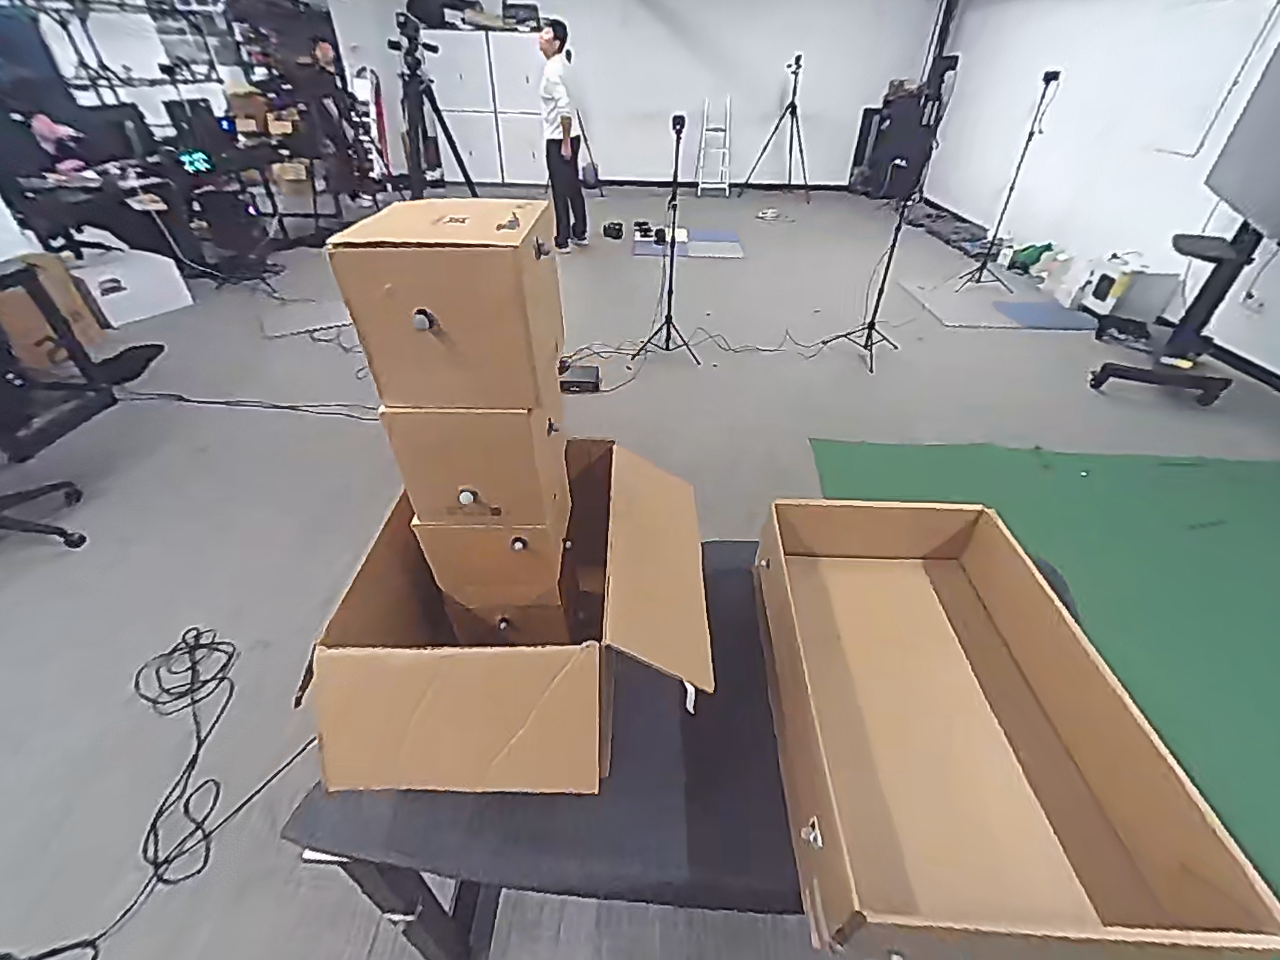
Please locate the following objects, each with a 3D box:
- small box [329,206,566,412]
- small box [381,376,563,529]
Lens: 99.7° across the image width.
[{"bbox_3d":[-0.186,-0.185,0.586,0.179,0.176,0.168,0,40,2],"label":"small box"},{"bbox_3d":[-0.195,-0.059,0.691,0.168,0.176,0.179,1,41,2],"label":"small box"}]
